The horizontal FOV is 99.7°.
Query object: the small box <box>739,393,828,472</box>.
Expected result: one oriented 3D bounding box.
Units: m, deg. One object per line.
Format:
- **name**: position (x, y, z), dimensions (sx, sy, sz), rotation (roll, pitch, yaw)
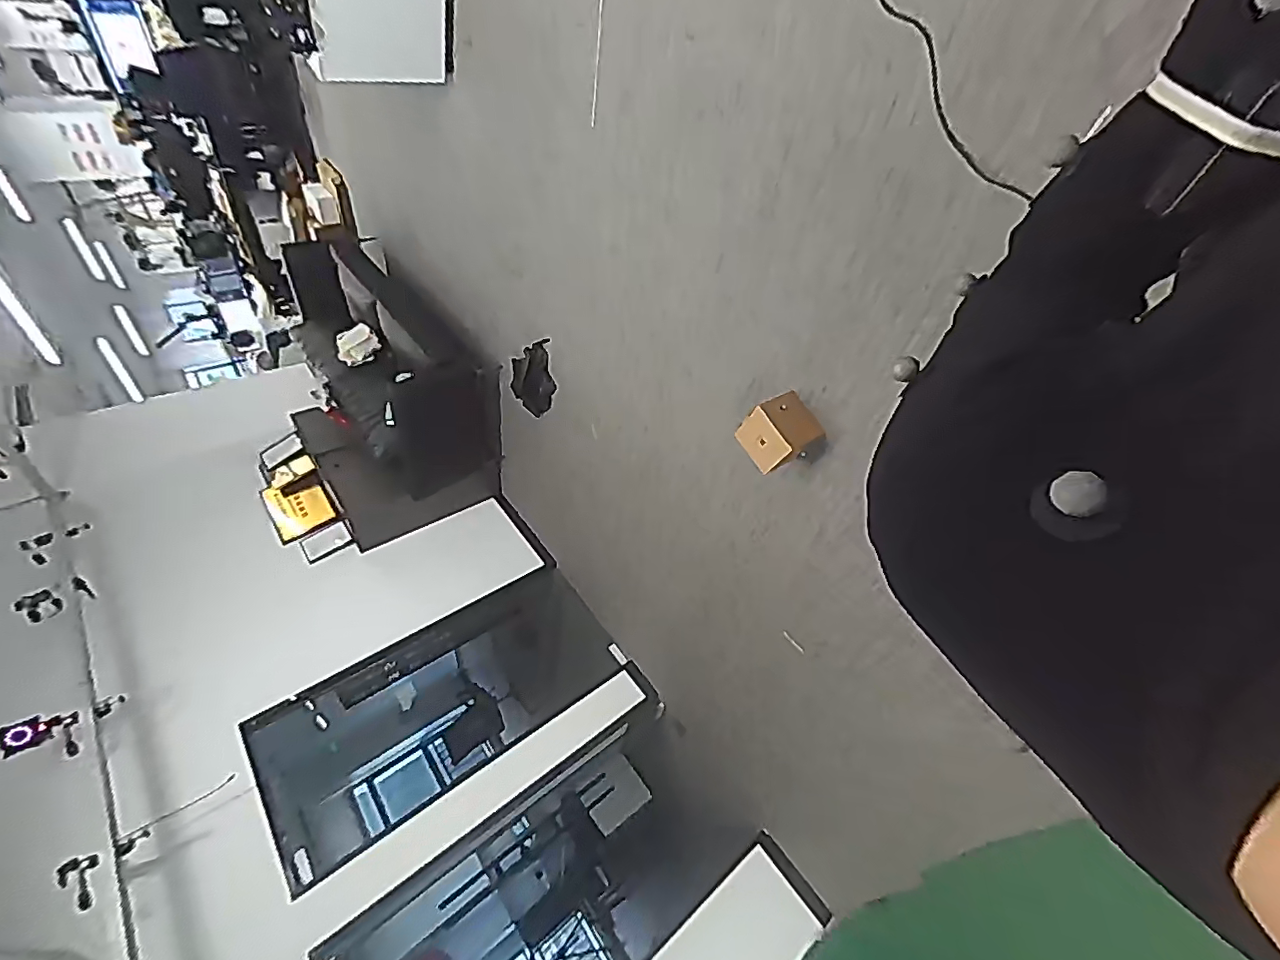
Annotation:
- **small box**: position (0.457, -0.160, 1.726), dimensions (0.179, 0.176, 0.168), rotation (55, 148, 14)
